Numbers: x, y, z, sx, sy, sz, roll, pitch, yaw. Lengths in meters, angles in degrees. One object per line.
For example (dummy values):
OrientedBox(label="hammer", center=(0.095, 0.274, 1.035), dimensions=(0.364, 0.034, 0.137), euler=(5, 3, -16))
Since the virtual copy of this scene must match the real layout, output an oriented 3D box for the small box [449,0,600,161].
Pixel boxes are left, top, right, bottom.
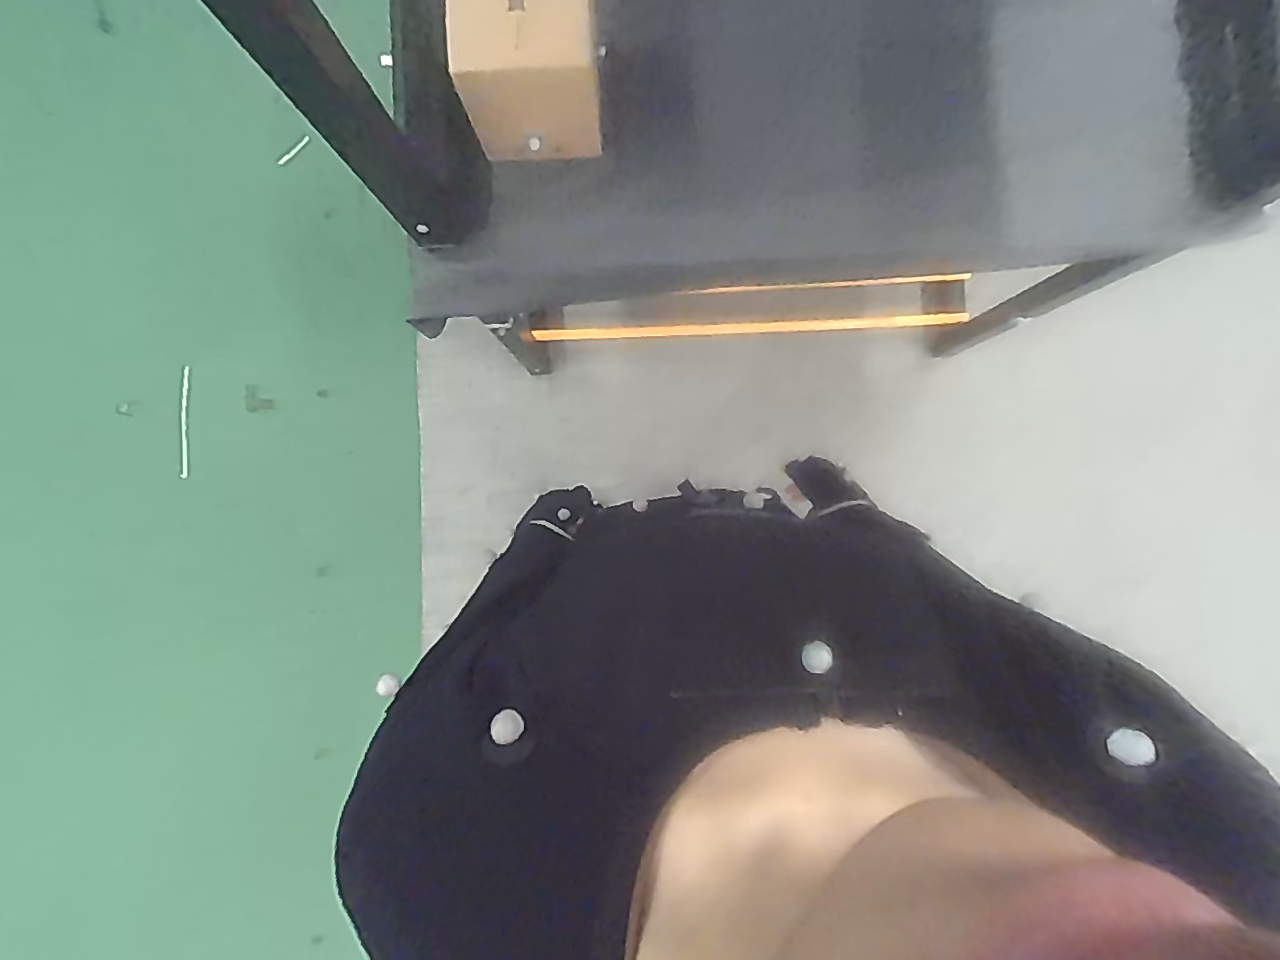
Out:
OrientedBox(label="small box", center=(-0.141, -0.554, 0.707), dimensions=(0.168, 0.176, 0.179), euler=(-2, 88, 0))
